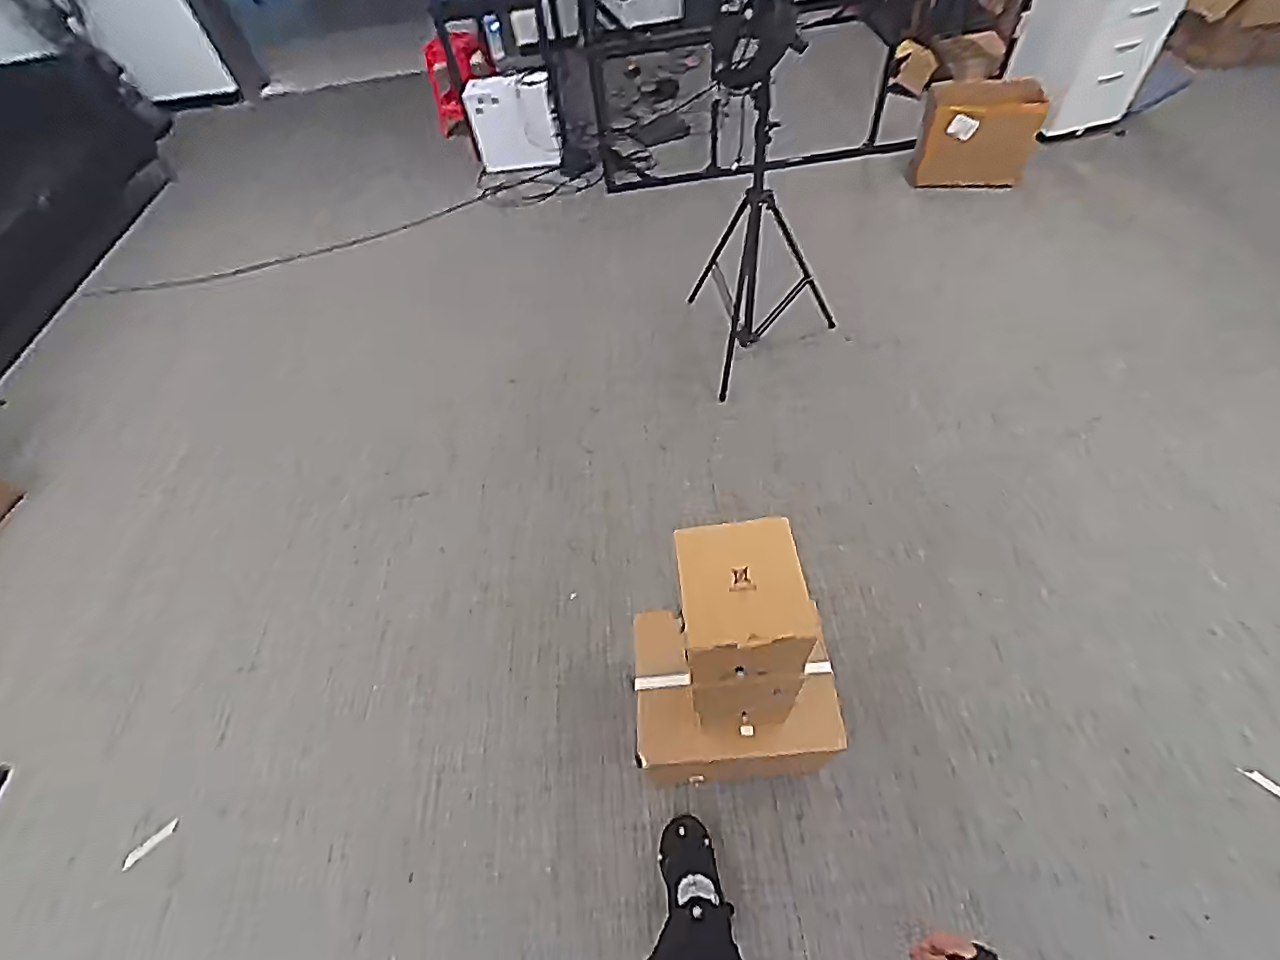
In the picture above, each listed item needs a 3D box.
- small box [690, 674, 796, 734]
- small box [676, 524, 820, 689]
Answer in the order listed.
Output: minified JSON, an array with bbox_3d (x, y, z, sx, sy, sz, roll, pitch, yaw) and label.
[{"bbox_3d":[0.187,0.383,1.046,0.179,0.176,0.168,-8,55,1],"label":"small box"},{"bbox_3d":[0.144,0.187,0.787,0.168,0.176,0.179,-8,55,2],"label":"small box"}]
